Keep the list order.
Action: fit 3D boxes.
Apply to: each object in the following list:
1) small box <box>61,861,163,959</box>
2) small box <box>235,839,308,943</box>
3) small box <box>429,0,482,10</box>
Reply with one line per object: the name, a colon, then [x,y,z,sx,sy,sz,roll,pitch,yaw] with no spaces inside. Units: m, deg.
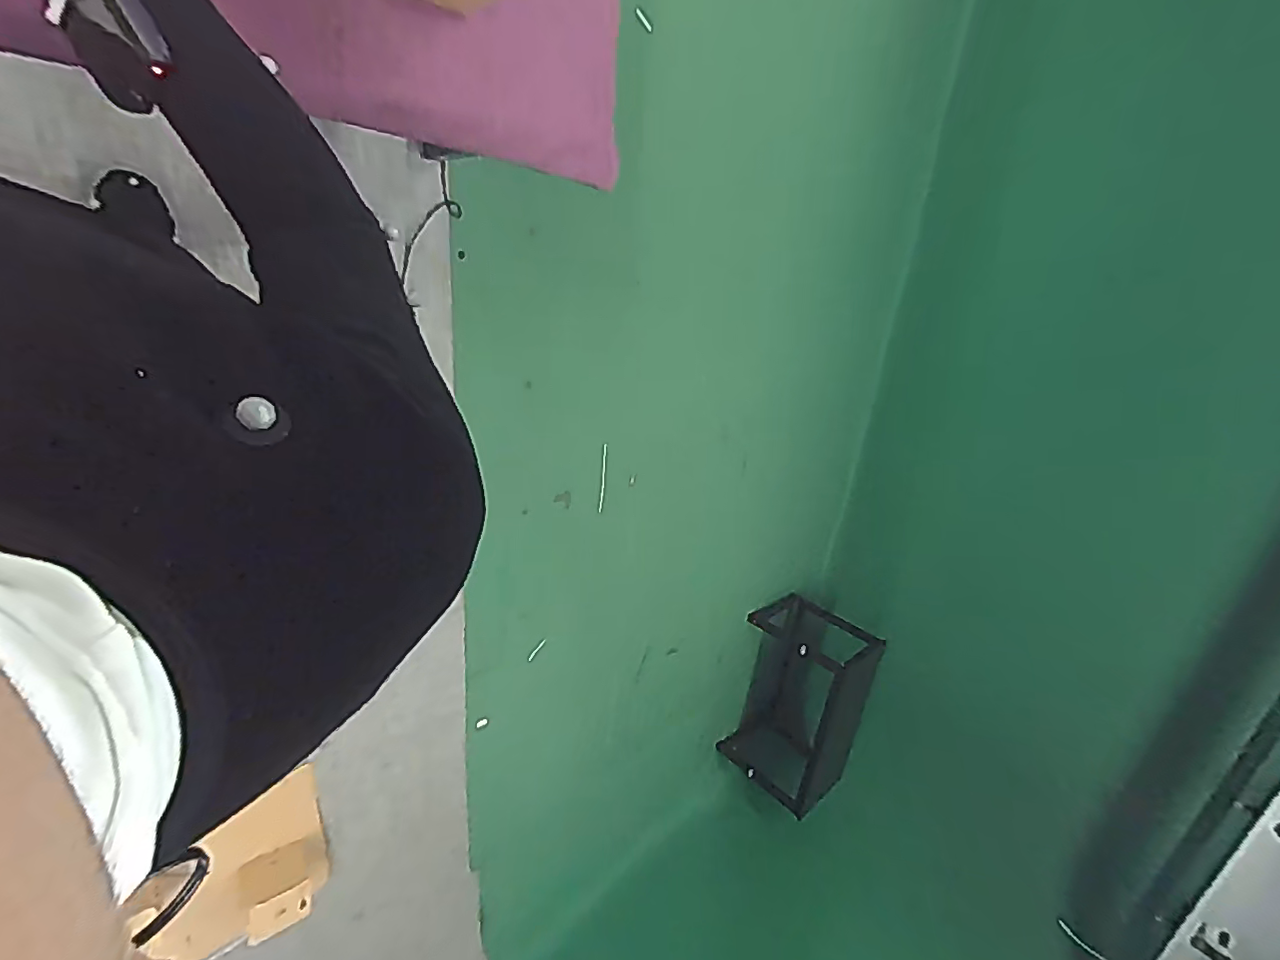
small box: [-1.453,1.210,1.488,0.179,0.176,0.168,-13,118,-42]
small box: [-1.226,1.352,1.792,0.179,0.176,0.168,-4,112,-45]
small box: [-0.259,-0.722,0.663,0.179,0.176,0.168,-13,118,-42]
